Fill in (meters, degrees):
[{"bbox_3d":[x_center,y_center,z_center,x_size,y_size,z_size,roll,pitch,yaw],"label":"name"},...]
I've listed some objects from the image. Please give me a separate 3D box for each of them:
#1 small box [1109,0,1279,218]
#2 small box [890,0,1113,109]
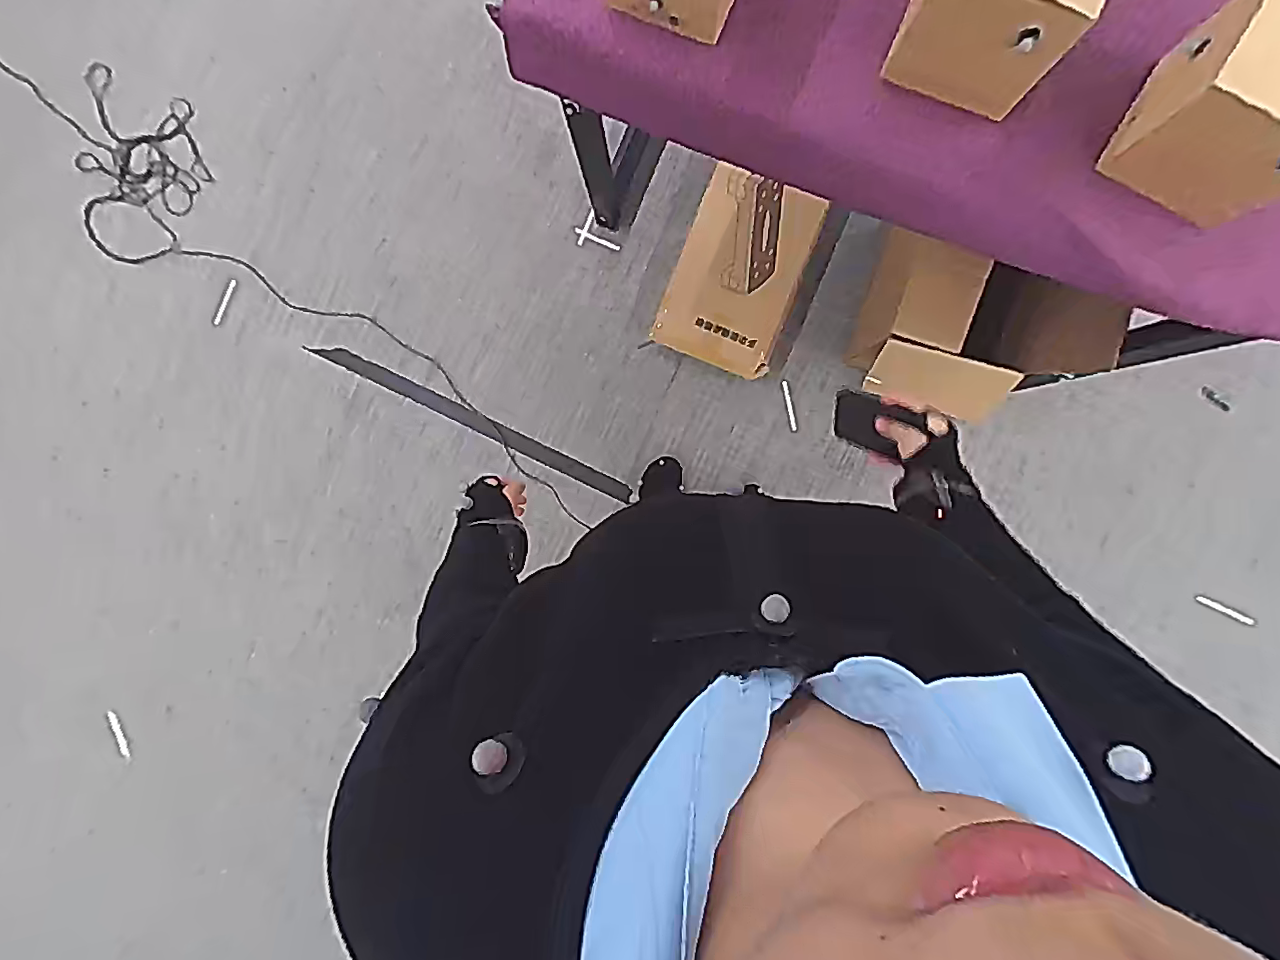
[{"bbox_3d":[0.723,-0.445,0.634,0.179,0.176,0.168,30,93,1],"label":"small box"},{"bbox_3d":[0.439,-0.590,0.643,0.179,0.176,0.168,23,91,2],"label":"small box"}]
